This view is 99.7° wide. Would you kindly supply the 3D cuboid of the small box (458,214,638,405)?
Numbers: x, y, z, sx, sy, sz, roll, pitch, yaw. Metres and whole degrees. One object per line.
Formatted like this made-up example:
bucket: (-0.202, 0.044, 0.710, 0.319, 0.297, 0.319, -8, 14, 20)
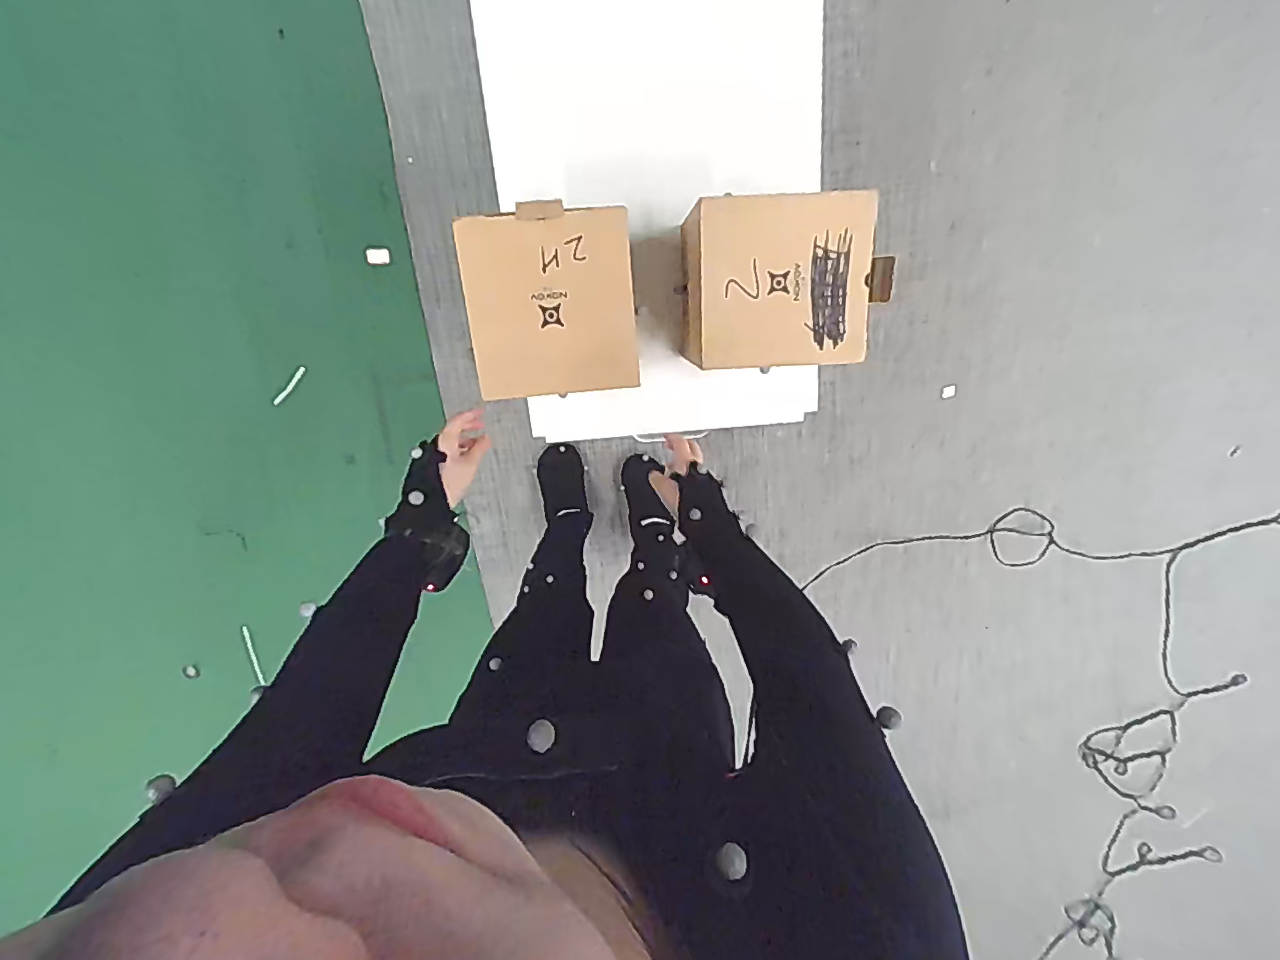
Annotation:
small box: (-0.092, -0.189, 0.613, 0.168, 0.176, 0.179, -5, 107, -4)
